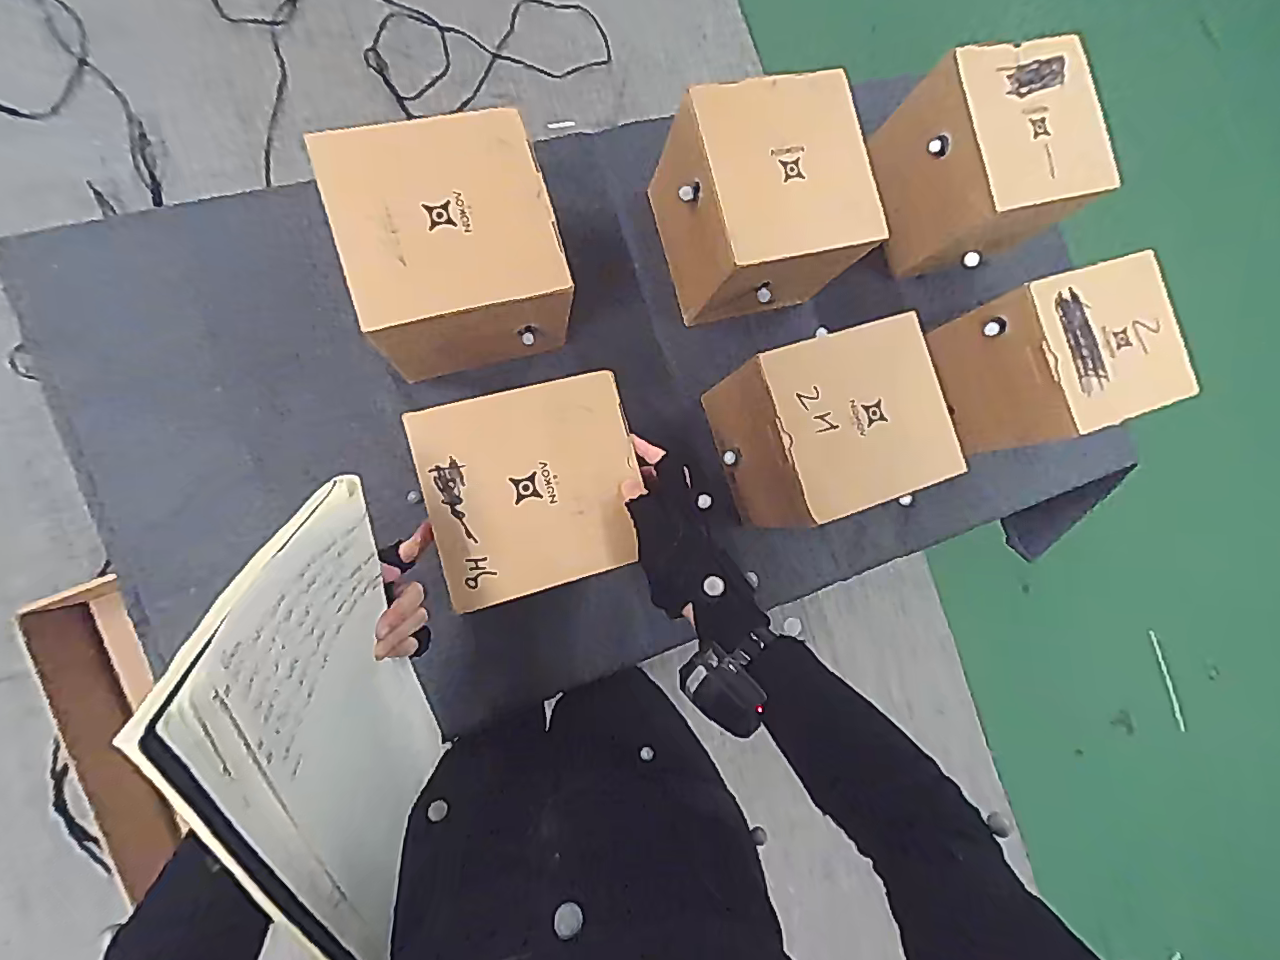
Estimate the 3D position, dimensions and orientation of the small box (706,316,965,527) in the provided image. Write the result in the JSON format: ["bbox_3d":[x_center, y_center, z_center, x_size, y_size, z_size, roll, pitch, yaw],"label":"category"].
[{"bbox_3d":[0.195,-0.053,0.582,0.179,0.176,0.168,-17,88,-13],"label":"small box"}]

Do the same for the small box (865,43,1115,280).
[{"bbox_3d":[0.400,-0.368,0.649,0.168,0.176,0.179,-15,89,-11],"label":"small box"}]

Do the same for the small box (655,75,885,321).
[{"bbox_3d":[0.127,-0.289,0.592,0.168,0.176,0.179,-15,89,-12],"label":"small box"}]

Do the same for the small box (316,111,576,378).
[{"bbox_3d":[-0.173,-0.212,0.523,0.179,0.176,0.168,-15,88,-12],"label":"small box"}]
